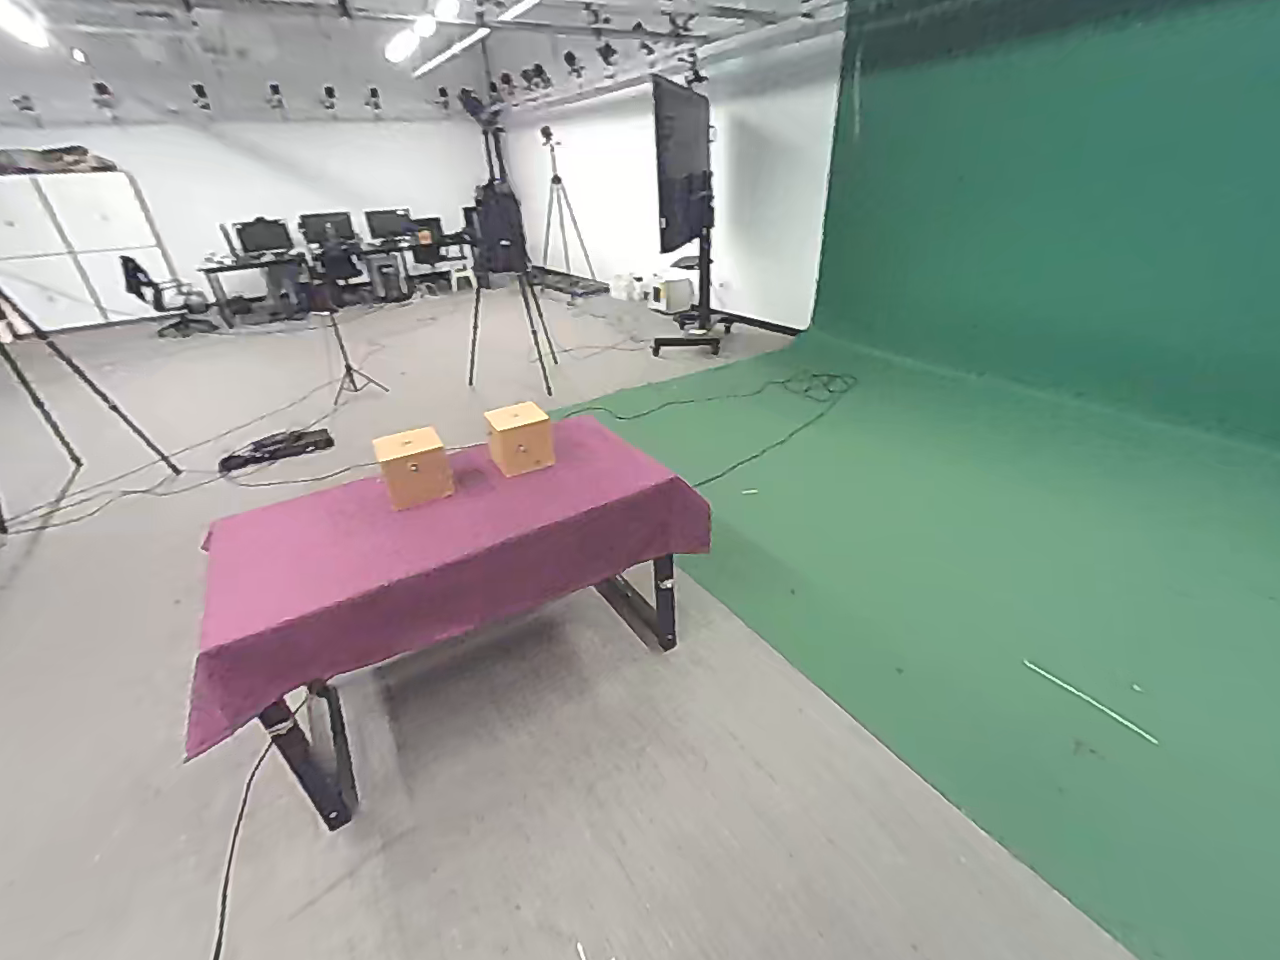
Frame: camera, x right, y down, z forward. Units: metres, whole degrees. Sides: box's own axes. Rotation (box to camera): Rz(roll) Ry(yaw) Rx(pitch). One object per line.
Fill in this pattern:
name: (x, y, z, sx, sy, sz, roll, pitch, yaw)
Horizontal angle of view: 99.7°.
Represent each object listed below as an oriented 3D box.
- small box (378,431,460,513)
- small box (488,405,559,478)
small box: (-0.656, -0.023, 1.609, 0.179, 0.176, 0.168, -18, 33, -23)
small box: (-0.375, -0.122, 1.745, 0.168, 0.176, 0.179, -19, 32, -23)
